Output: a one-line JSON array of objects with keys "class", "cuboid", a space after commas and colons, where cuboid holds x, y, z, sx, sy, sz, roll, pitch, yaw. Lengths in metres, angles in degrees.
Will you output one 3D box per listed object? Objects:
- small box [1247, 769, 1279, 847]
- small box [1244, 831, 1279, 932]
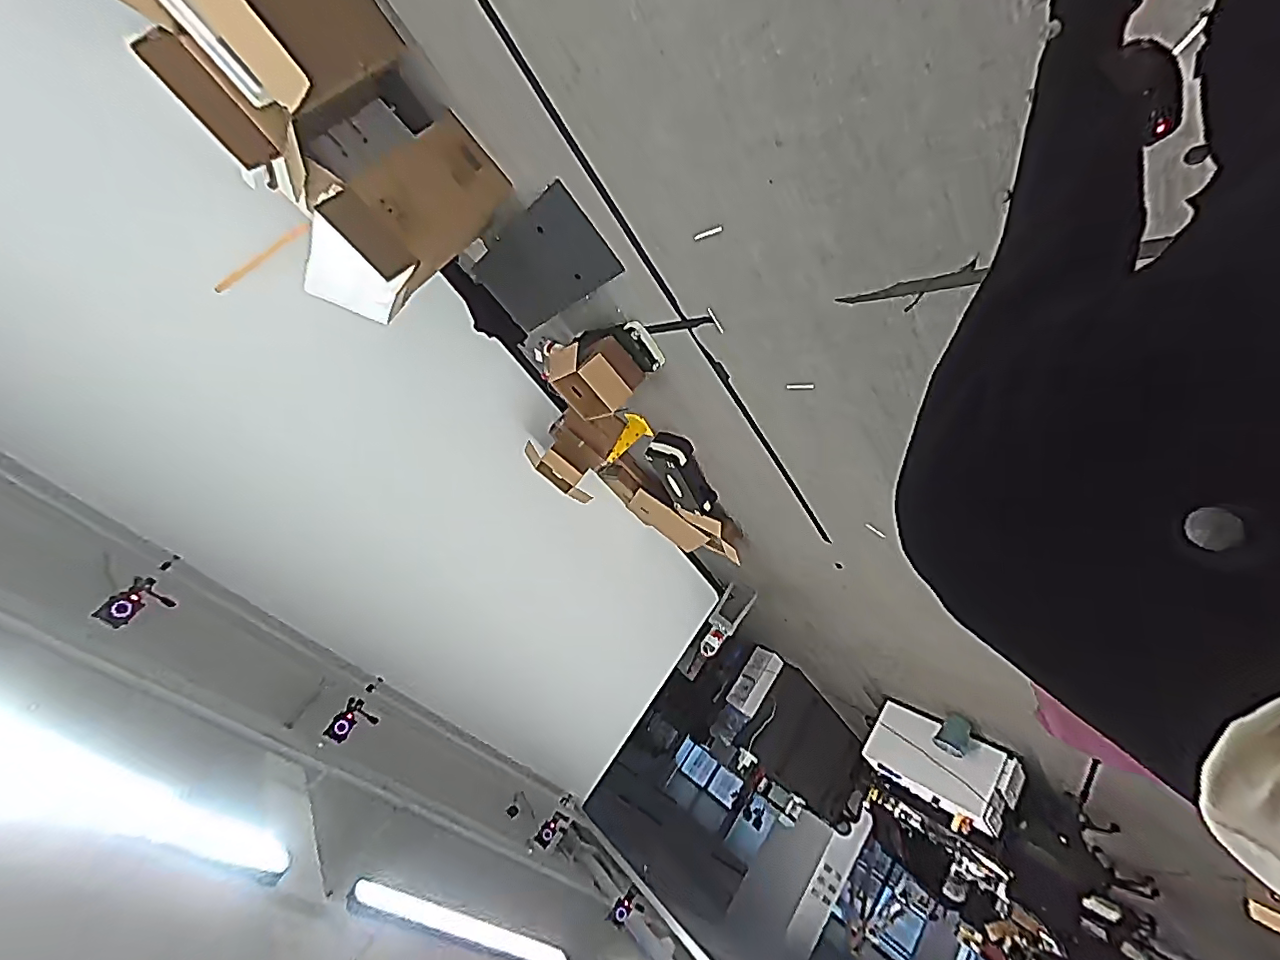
[{"class": "small box", "cuboid": [1.604, 0.824, 1.291, 0.168, 0.176, 0.179, 47, 160, -28]}, {"class": "small box", "cuboid": [1.513, 0.942, 1.219, 0.168, 0.176, 0.179, 48, 160, -28]}]
